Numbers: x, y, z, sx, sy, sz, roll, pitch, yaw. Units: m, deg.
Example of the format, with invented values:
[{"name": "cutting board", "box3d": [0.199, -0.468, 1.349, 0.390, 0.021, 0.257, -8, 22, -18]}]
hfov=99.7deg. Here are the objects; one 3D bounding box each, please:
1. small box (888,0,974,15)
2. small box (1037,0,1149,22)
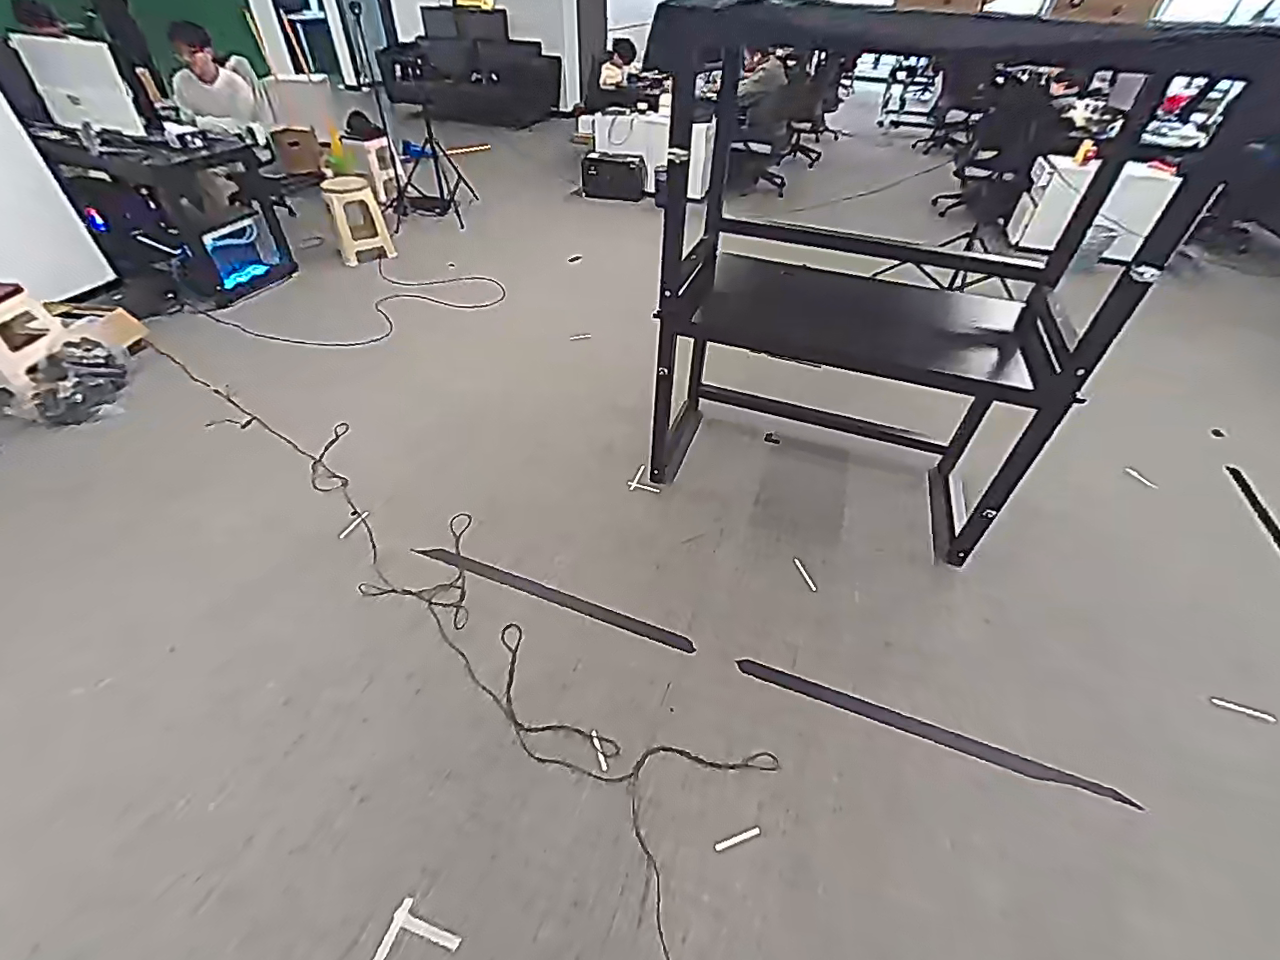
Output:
[{"name": "small box", "box3d": [0.621, -1.072, 1.108, 0.168, 0.176, 0.179, 16, 42, 15]}, {"name": "small box", "box3d": [0.904, -0.996, 1.043, 0.168, 0.176, 0.179, 18, 43, 16]}]
